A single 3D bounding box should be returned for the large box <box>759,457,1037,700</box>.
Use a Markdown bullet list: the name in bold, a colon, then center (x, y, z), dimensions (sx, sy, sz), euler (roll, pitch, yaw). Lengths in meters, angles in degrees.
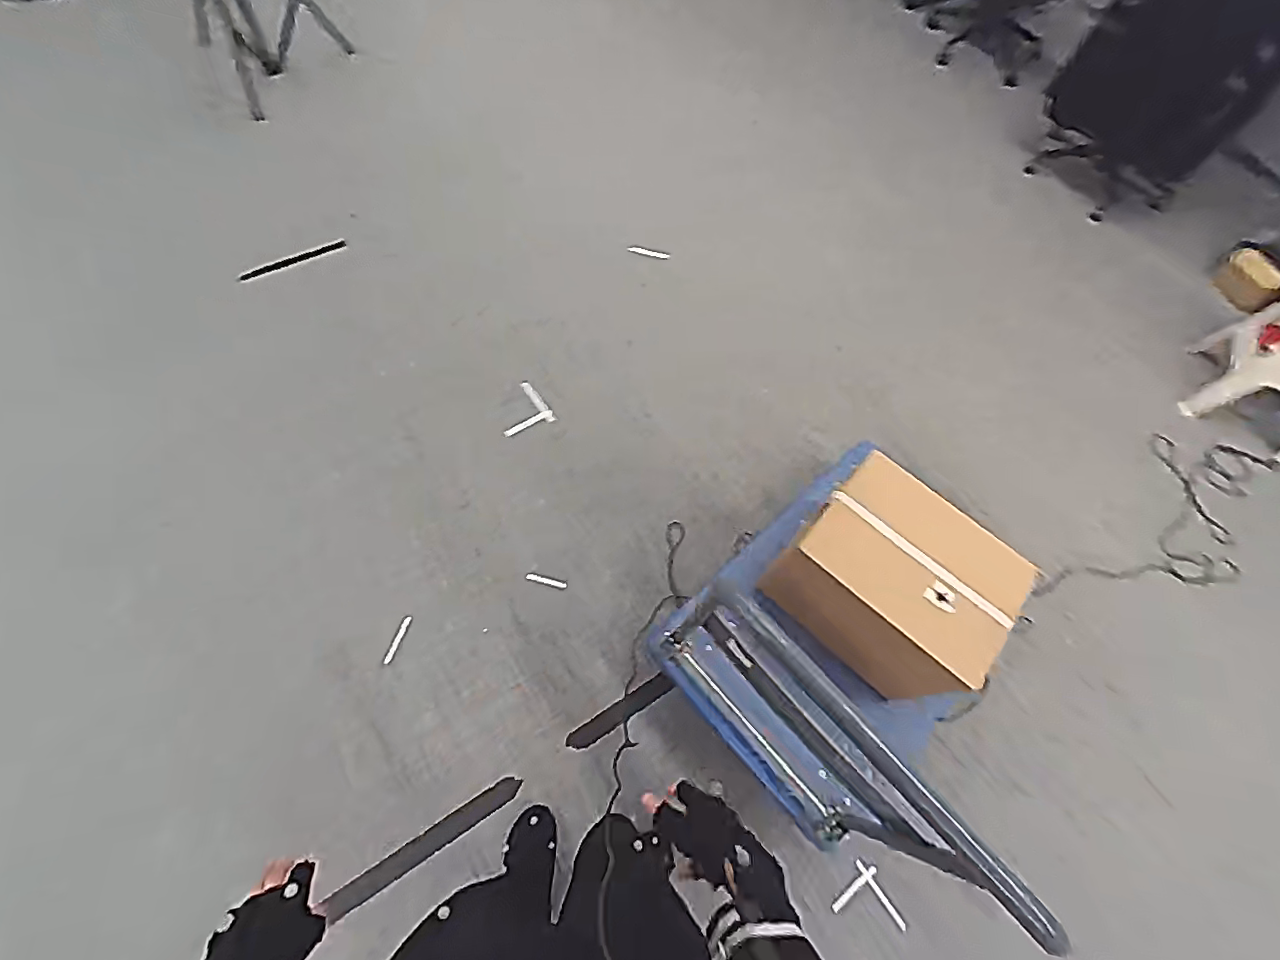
- **large box**: center (0.548, 0.229, 1.219), dimensions (0.408, 0.320, 0.320), euler (40, 68, 13)
